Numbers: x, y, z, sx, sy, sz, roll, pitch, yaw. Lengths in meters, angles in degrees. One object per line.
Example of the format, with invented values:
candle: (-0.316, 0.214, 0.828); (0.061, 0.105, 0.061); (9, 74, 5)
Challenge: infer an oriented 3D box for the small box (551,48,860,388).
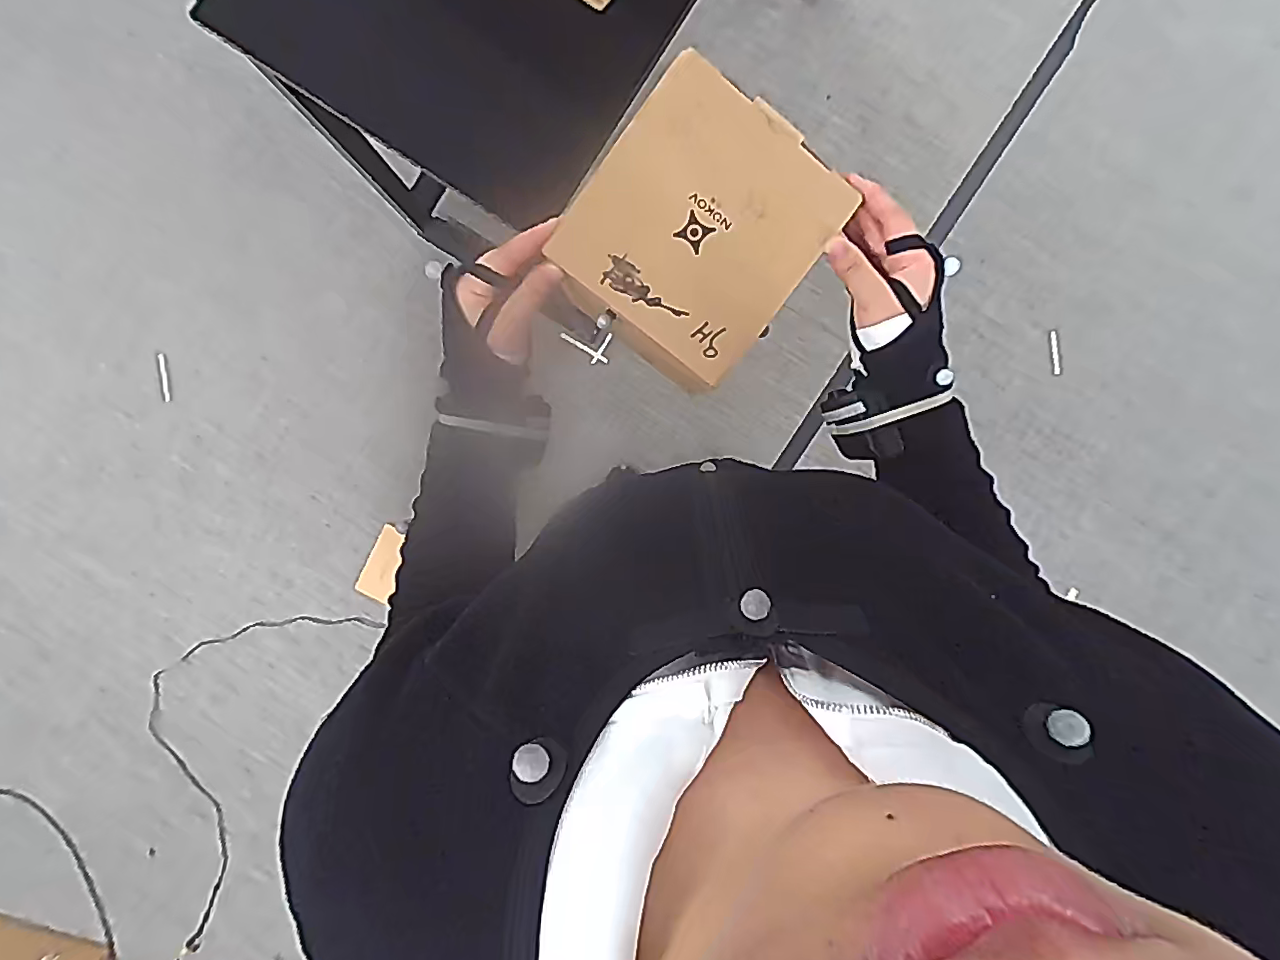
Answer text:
small box: (0.045, -0.200, 0.474); (0.168, 0.176, 0.179); (37, 94, -5)

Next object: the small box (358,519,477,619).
small box: (-0.515, 0.200, 1.280); (0.179, 0.176, 0.168); (26, 91, 2)
